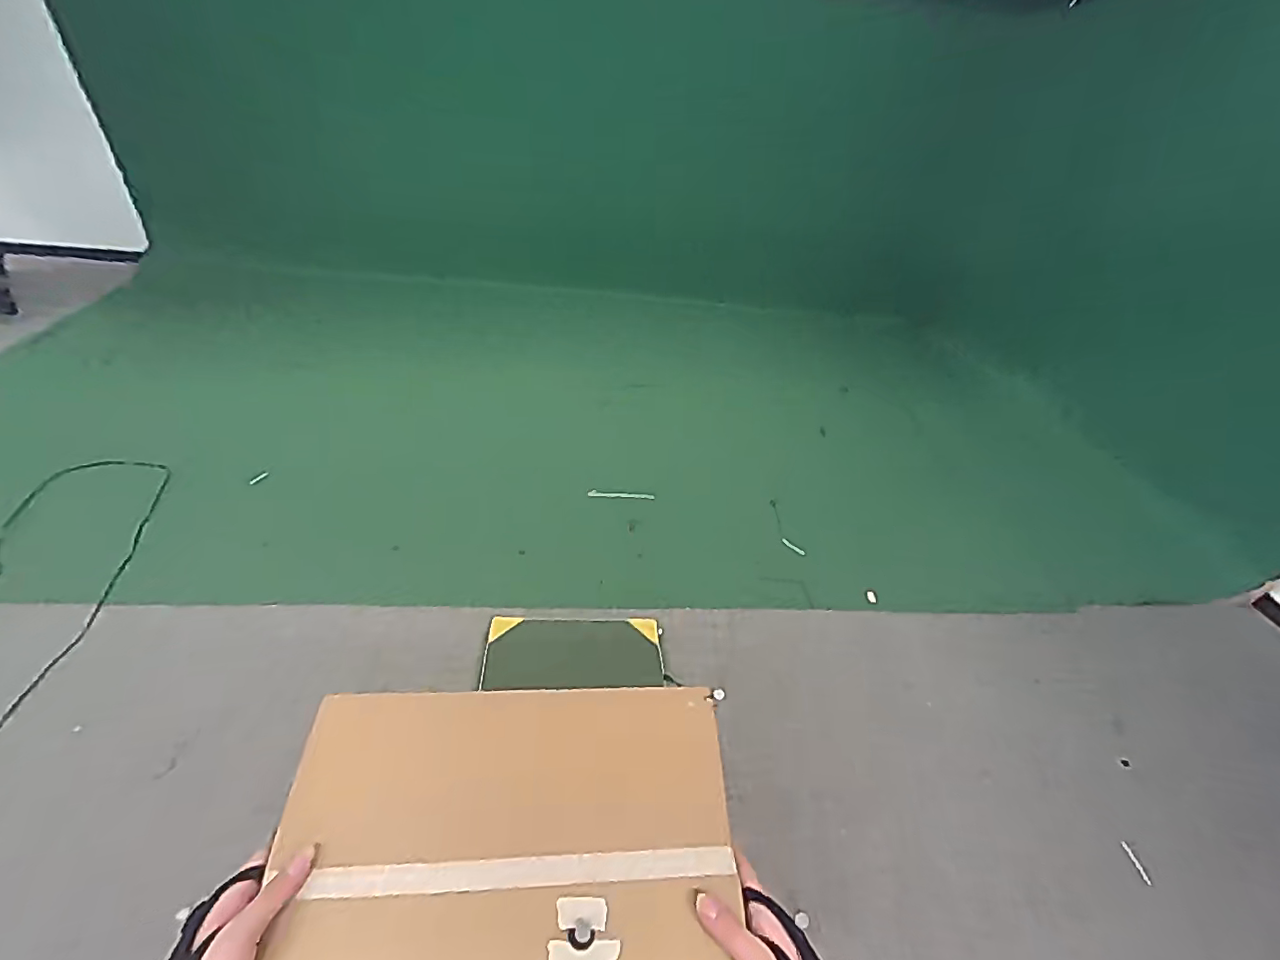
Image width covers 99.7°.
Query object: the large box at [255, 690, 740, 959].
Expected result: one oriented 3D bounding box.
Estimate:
[{"bbox_3d":[-0.129,0.449,0.597,0.408,0.320,0.320,1,50,-6],"label":"large box"}]
